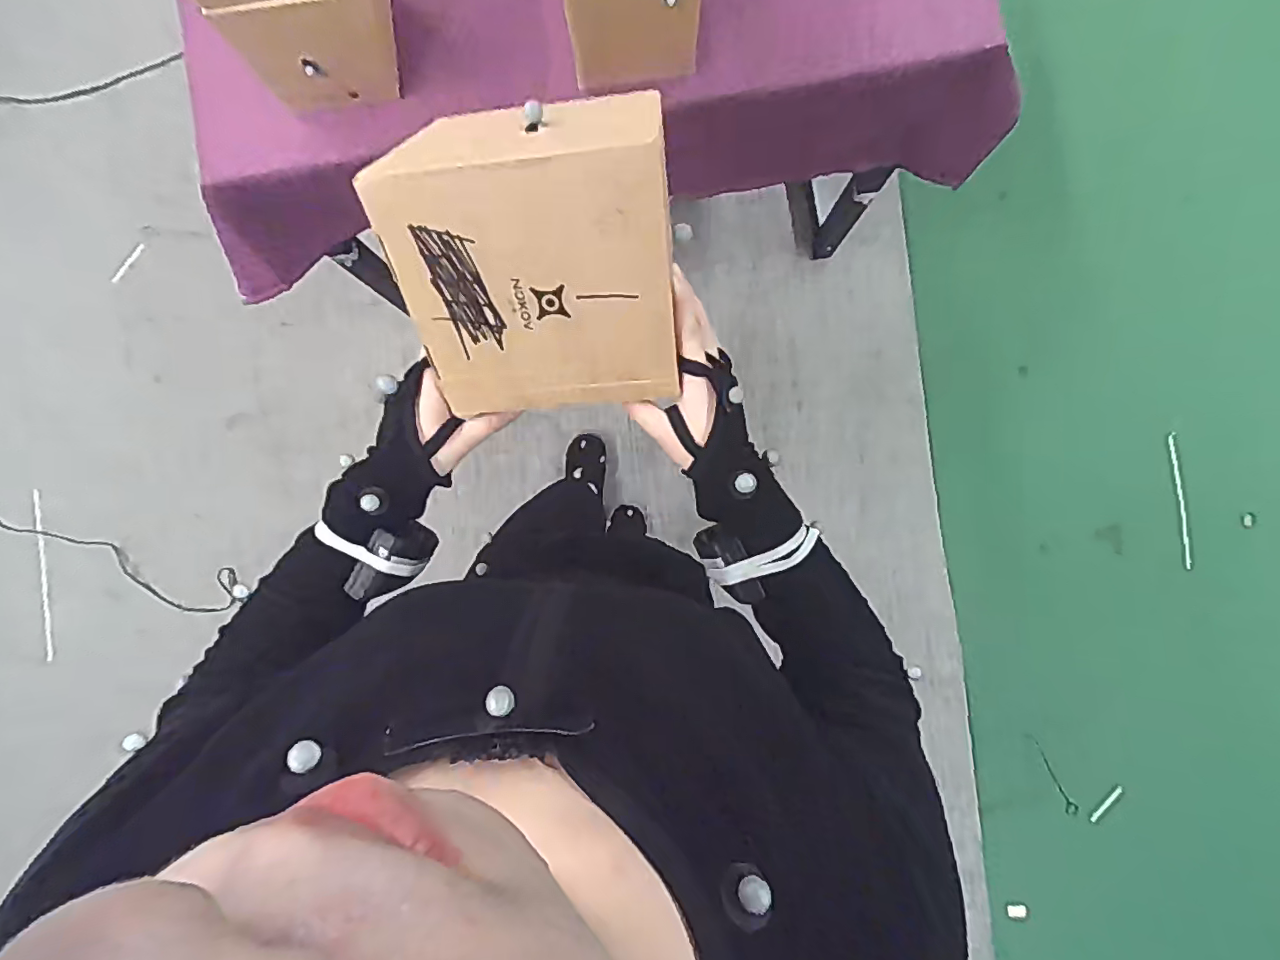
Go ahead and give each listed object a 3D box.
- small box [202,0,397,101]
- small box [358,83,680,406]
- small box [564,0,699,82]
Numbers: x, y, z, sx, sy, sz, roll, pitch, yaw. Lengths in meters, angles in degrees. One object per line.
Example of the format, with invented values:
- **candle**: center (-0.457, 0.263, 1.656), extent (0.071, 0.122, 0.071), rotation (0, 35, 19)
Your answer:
- **small box**: center (-0.442, -0.643, 0.720), extent (0.168, 0.176, 0.179), rotation (-6, 88, 0)
- **small box**: center (-0.061, -0.174, 0.401), extent (0.179, 0.168, 0.176), rotation (-4, 45, 5)
- **small box**: center (-0.016, -0.669, 0.715), extent (0.179, 0.176, 0.168), rotation (-8, 88, 1)
